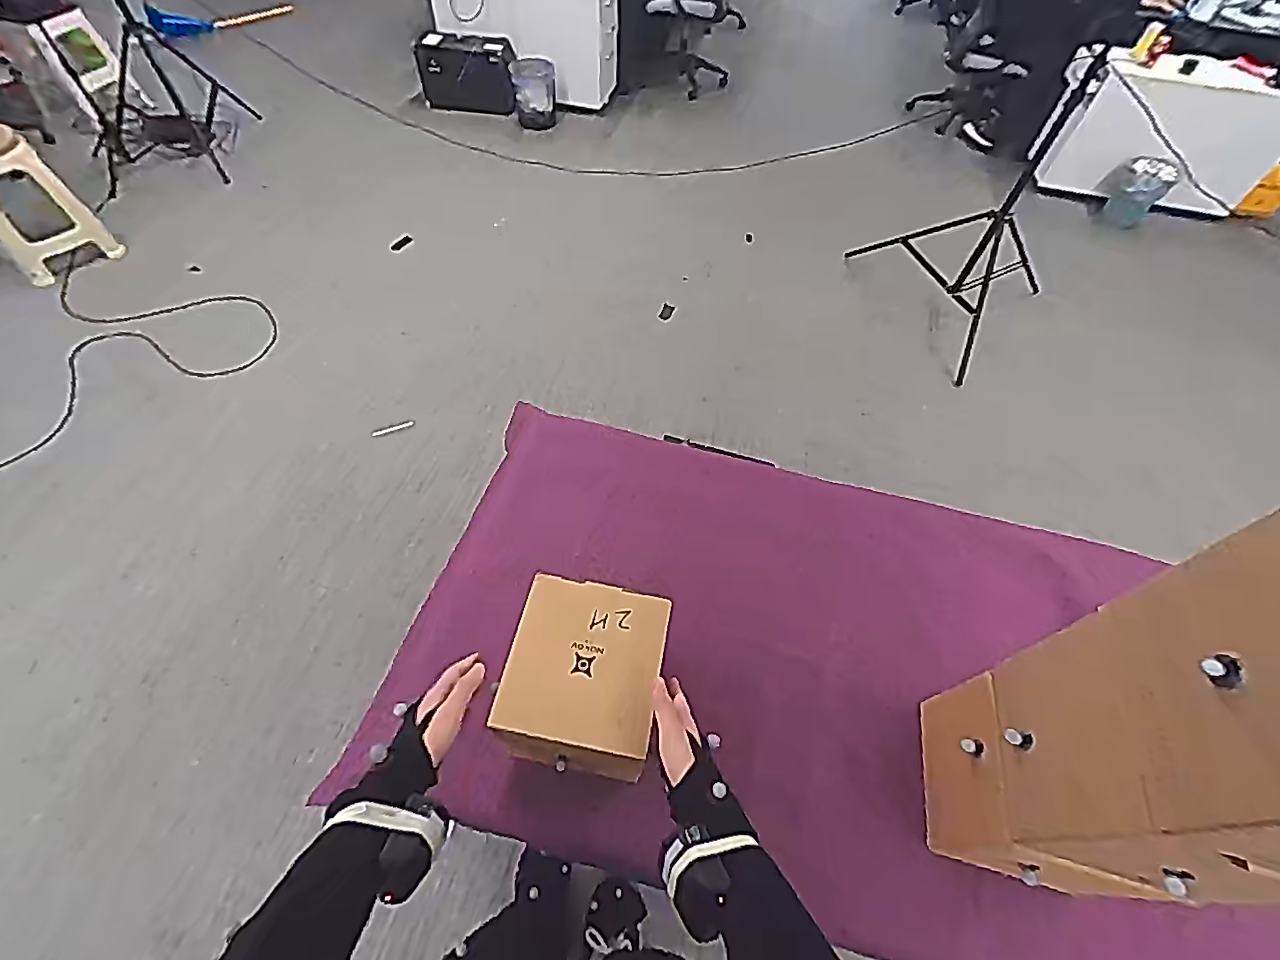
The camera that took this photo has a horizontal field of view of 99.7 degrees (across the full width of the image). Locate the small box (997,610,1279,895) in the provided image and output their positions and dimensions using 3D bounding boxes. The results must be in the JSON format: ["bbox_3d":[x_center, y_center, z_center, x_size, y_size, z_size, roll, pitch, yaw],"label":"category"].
[{"bbox_3d":[0.458,0.247,0.486,0.168,0.176,0.179,14,55,7],"label":"small box"}]

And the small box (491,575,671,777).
[{"bbox_3d":[-0.060,0.240,0.650,0.168,0.176,0.179,9,53,3],"label":"small box"}]

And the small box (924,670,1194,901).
[{"bbox_3d":[0.447,0.346,0.616,0.168,0.176,0.179,13,54,6],"label":"small box"}]
